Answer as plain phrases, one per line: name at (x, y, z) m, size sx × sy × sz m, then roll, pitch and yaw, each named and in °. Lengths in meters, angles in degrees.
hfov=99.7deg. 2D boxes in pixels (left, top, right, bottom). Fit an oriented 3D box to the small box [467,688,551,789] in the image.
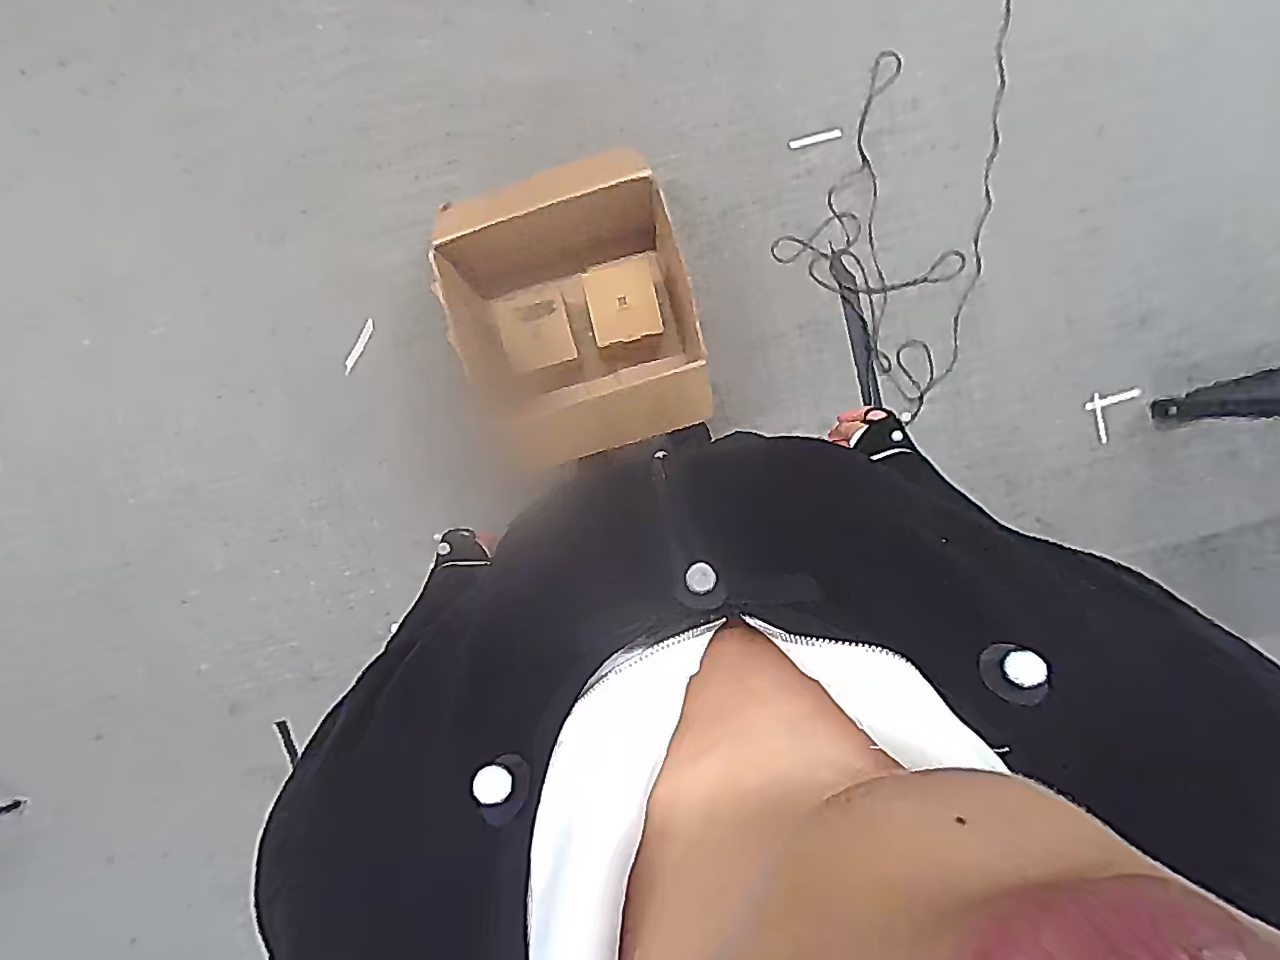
small box at (-0.337, 0.675, 1.433) m, size 0.179 × 0.176 × 0.168 m, roll -12°, pitch 96°, yaw -1°
